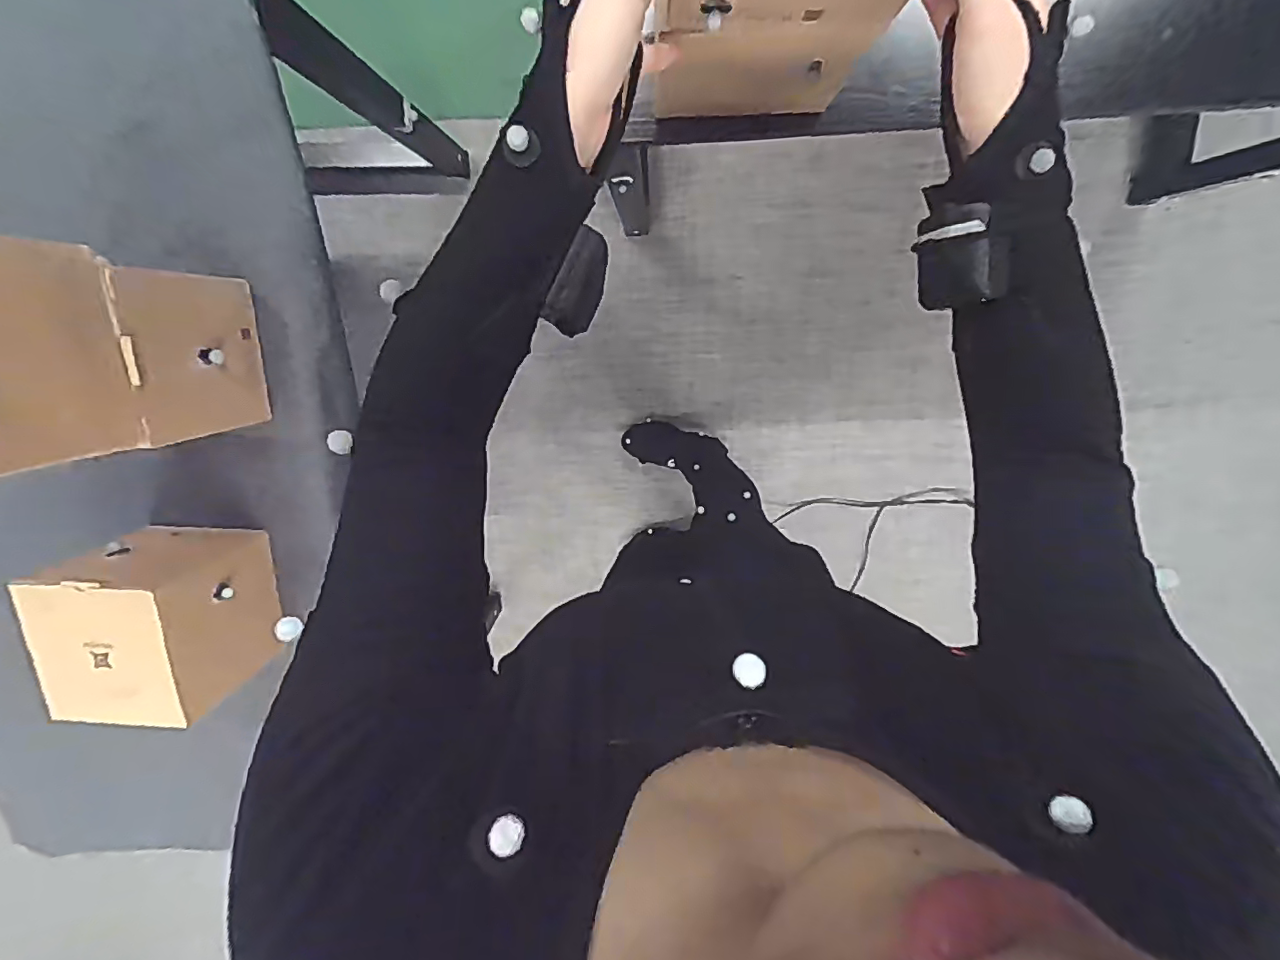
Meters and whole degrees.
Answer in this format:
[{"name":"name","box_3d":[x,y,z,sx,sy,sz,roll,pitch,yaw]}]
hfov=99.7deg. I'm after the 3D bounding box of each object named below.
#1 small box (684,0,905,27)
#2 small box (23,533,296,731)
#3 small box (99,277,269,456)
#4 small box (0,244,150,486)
[{"name":"small box","box_3d":[0.105,-0.392,0.301,0.168,0.176,0.179,0,106,1]},{"name":"small box","box_3d":[-0.565,0.174,0.664,0.168,0.176,0.179,2,107,4]},{"name":"small box","box_3d":[-0.533,-0.127,0.575,0.179,0.176,0.168,2,107,3]},{"name":"small box","box_3d":[-0.544,-0.091,0.416,0.168,0.176,0.179,0,107,4]}]
